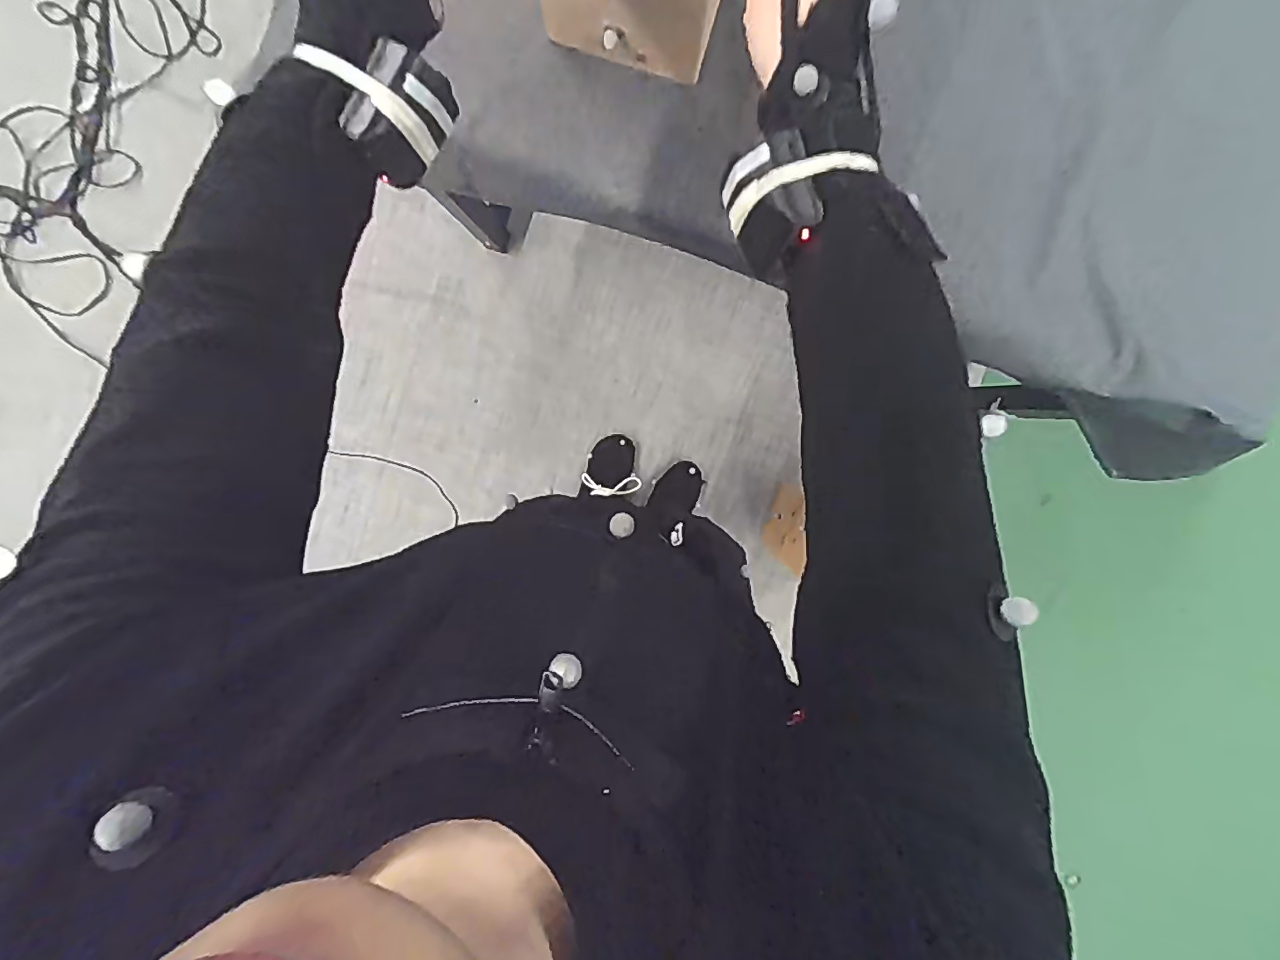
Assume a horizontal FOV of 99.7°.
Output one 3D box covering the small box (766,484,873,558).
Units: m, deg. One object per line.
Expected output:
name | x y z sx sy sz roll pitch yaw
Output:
small box | 0.423 0.116 1.304 0.179 0.176 0.168 19 96 -2

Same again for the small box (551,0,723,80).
small box | 0.008 -0.518 0.485 0.168 0.176 0.179 16 98 -2
